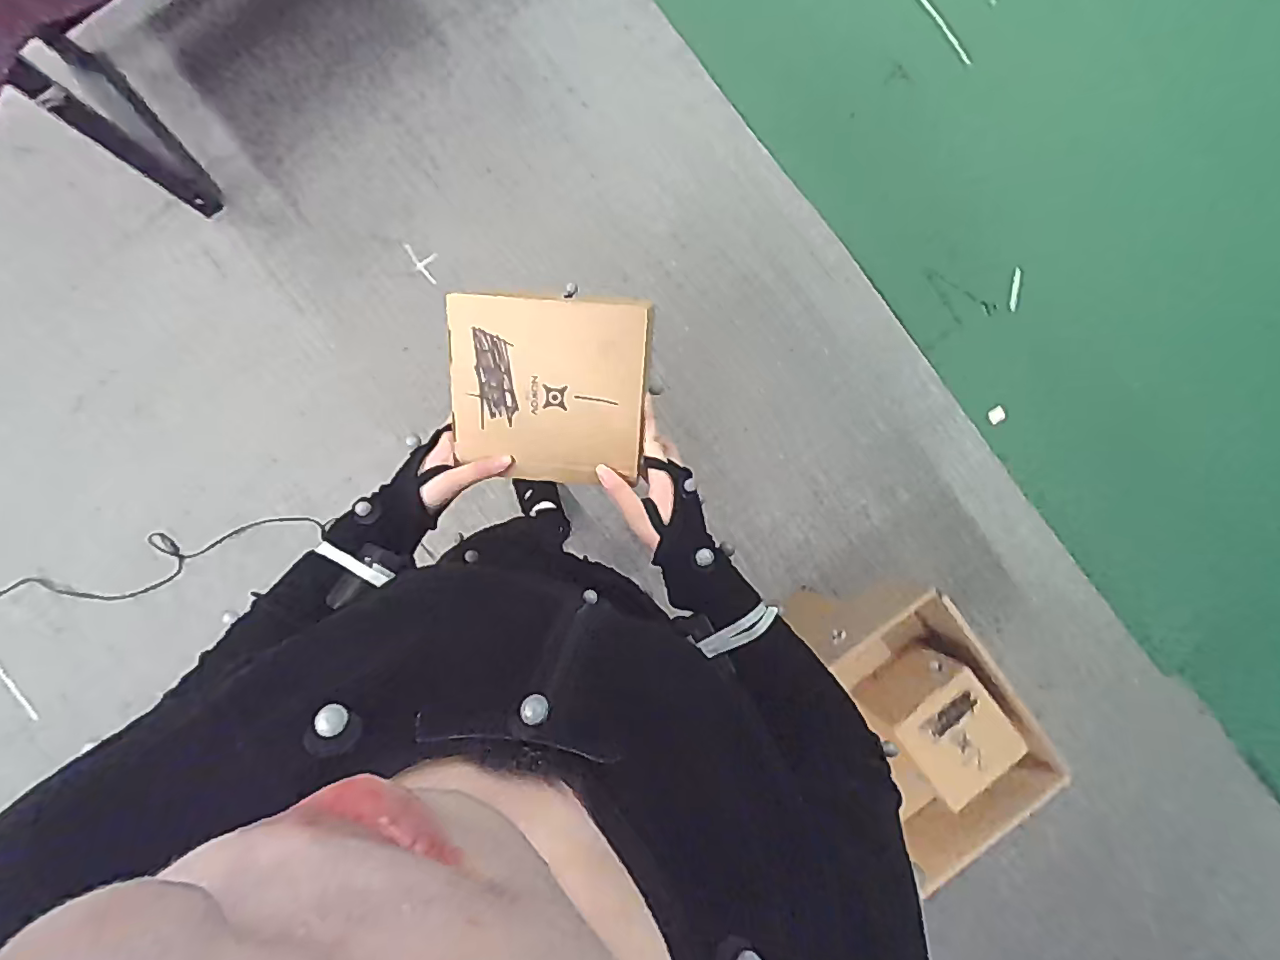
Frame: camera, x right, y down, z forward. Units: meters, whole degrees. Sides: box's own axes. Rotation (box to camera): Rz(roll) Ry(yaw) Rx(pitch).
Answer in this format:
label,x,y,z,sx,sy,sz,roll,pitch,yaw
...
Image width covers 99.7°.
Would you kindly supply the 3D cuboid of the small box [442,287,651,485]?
label,x,y,z,sx,sy,sz,roll,pitch,yaw
small box,-0.084,-0.105,0.558,0.179,0.176,0.168,4,110,1
